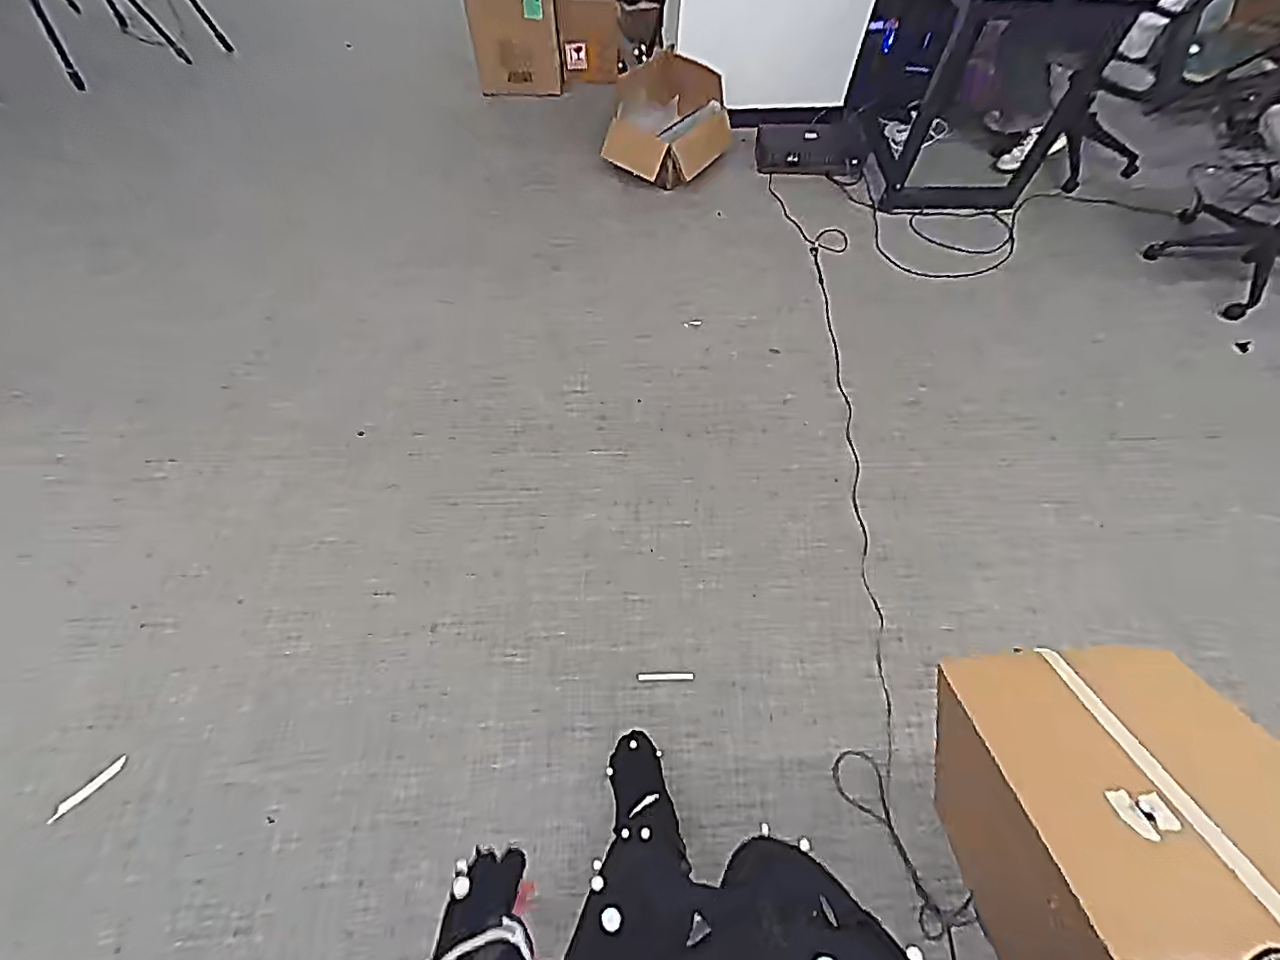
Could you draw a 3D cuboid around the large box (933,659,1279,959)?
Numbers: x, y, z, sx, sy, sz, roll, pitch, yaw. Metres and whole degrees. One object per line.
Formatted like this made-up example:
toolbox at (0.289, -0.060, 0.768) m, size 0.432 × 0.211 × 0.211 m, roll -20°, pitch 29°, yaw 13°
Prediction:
large box at (0.620, 0.486, 0.691) m, size 0.320 × 0.320 × 0.408 m, roll -6°, pitch 20°, yaw 9°
